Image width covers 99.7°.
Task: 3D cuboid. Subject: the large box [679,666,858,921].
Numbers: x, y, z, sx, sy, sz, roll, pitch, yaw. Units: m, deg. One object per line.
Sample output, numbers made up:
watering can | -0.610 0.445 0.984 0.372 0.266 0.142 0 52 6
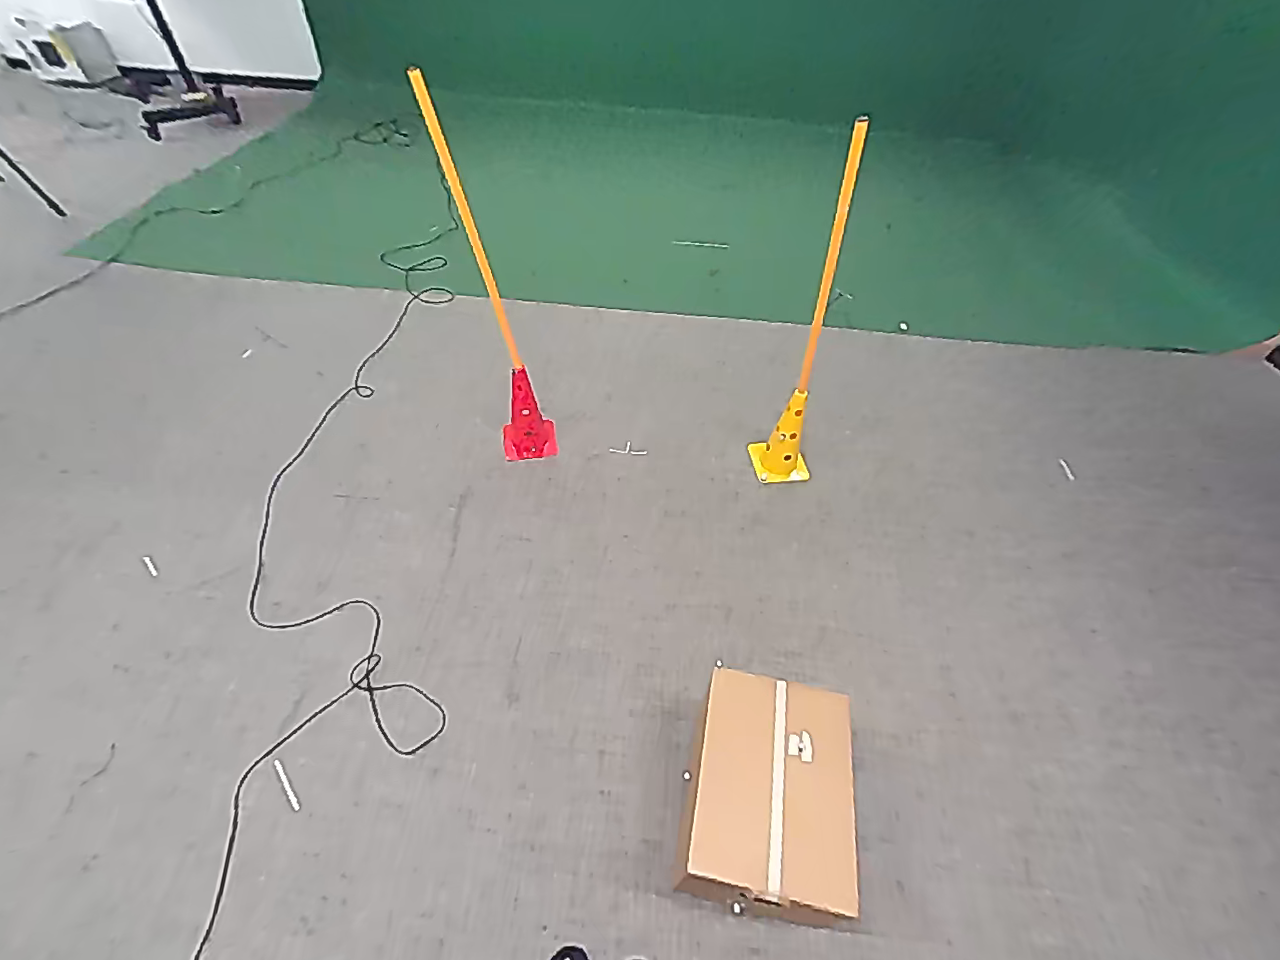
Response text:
large box | 0.275 0.703 1.222 0.320 0.320 0.408 11 48 6
